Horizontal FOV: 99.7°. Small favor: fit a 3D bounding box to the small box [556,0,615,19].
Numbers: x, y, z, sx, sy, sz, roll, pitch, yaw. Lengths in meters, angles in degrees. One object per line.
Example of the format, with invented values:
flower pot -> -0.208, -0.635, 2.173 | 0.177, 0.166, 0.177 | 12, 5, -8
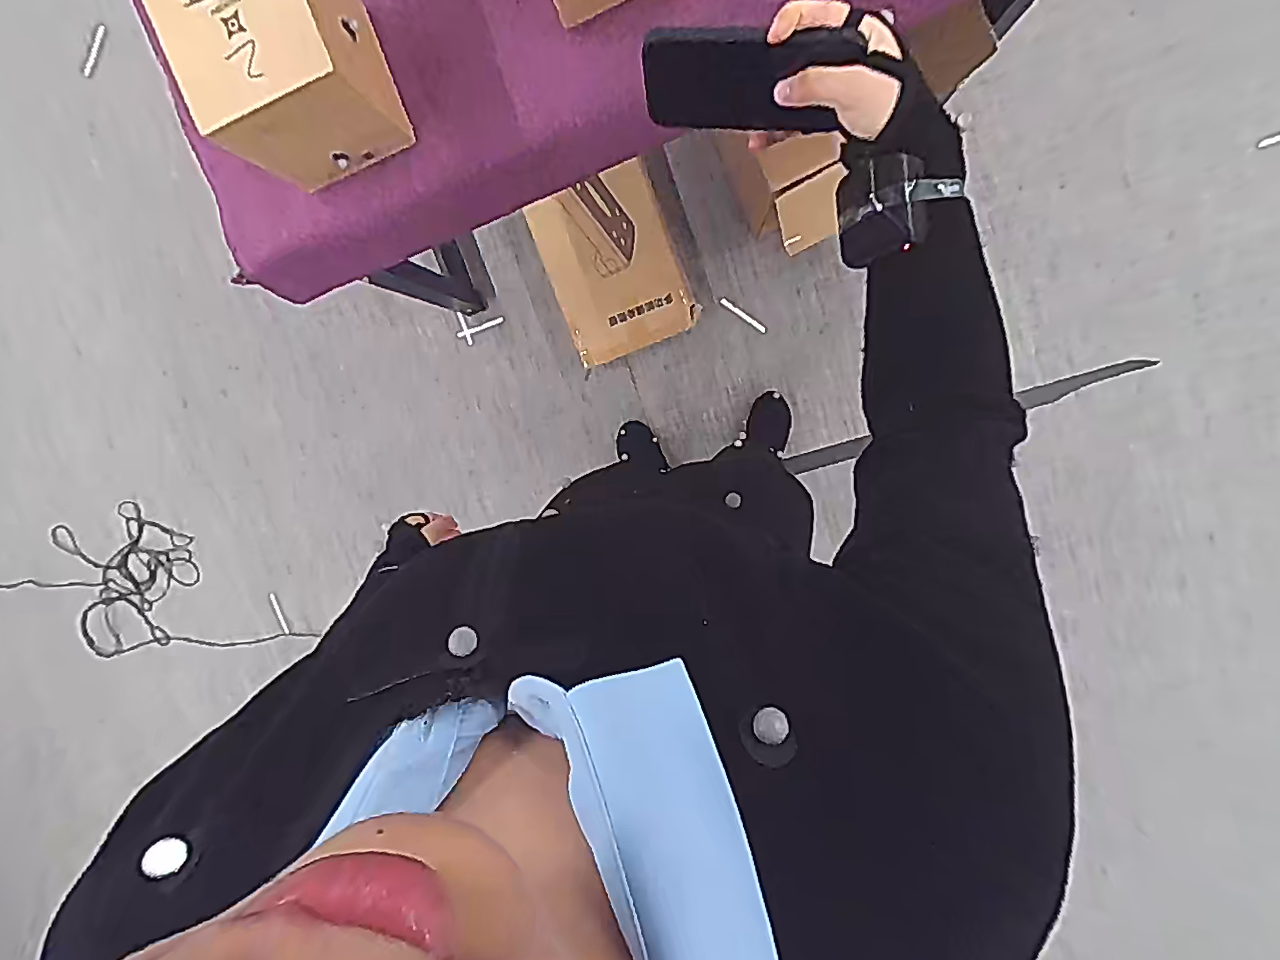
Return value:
small box -> -0.043, -0.638, 0.549 | 0.179, 0.176, 0.168 | -20, 95, 8
